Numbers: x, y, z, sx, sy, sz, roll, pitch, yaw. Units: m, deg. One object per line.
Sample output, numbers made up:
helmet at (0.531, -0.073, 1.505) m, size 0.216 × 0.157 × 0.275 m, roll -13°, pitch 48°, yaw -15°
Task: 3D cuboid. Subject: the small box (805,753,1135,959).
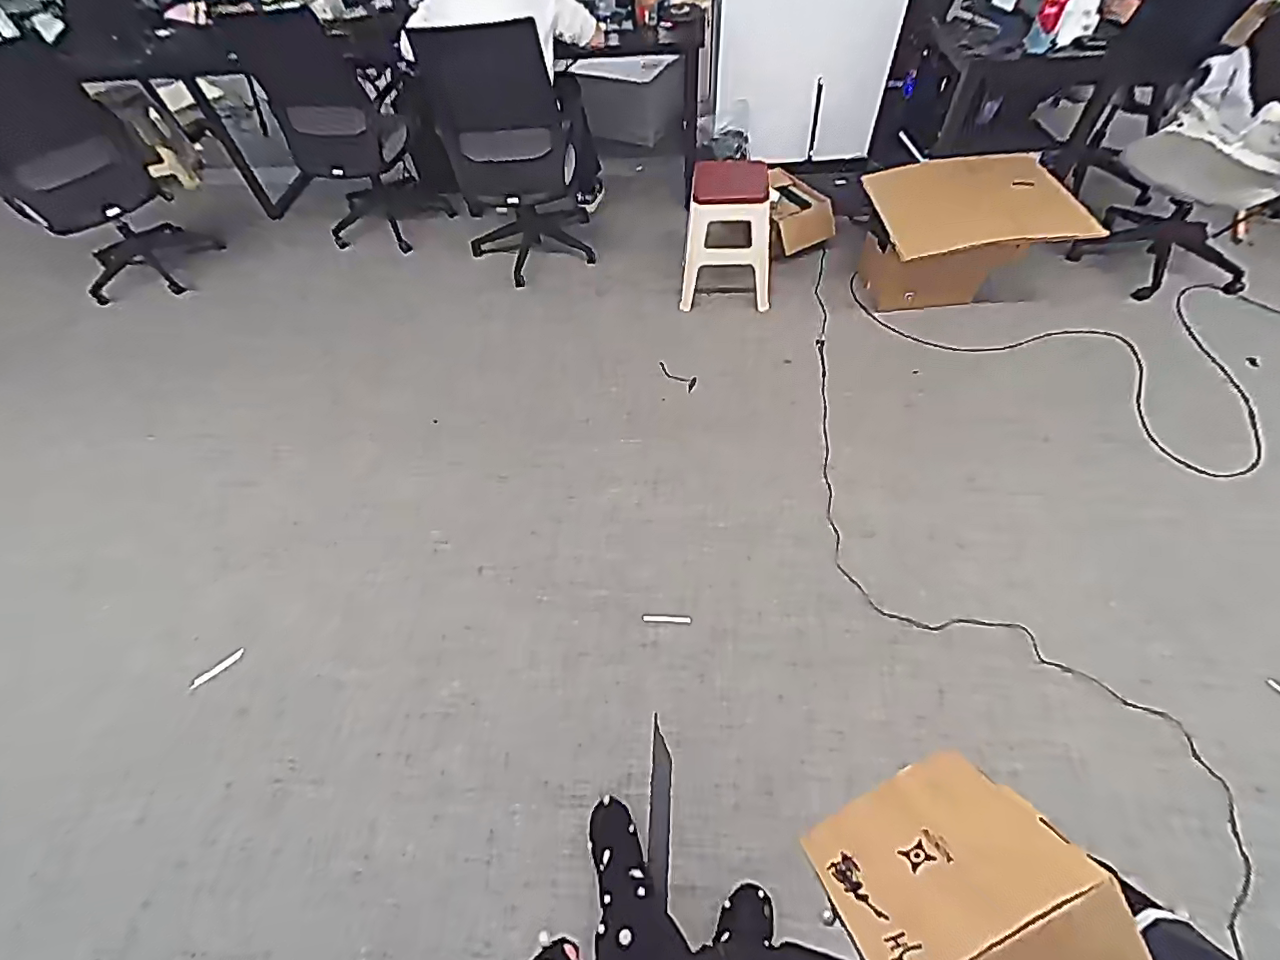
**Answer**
small box at (0.277, 0.384, 0.459) m, size 0.179 × 0.168 × 0.176 m, roll -26°, pitch 94°, yaw -4°
